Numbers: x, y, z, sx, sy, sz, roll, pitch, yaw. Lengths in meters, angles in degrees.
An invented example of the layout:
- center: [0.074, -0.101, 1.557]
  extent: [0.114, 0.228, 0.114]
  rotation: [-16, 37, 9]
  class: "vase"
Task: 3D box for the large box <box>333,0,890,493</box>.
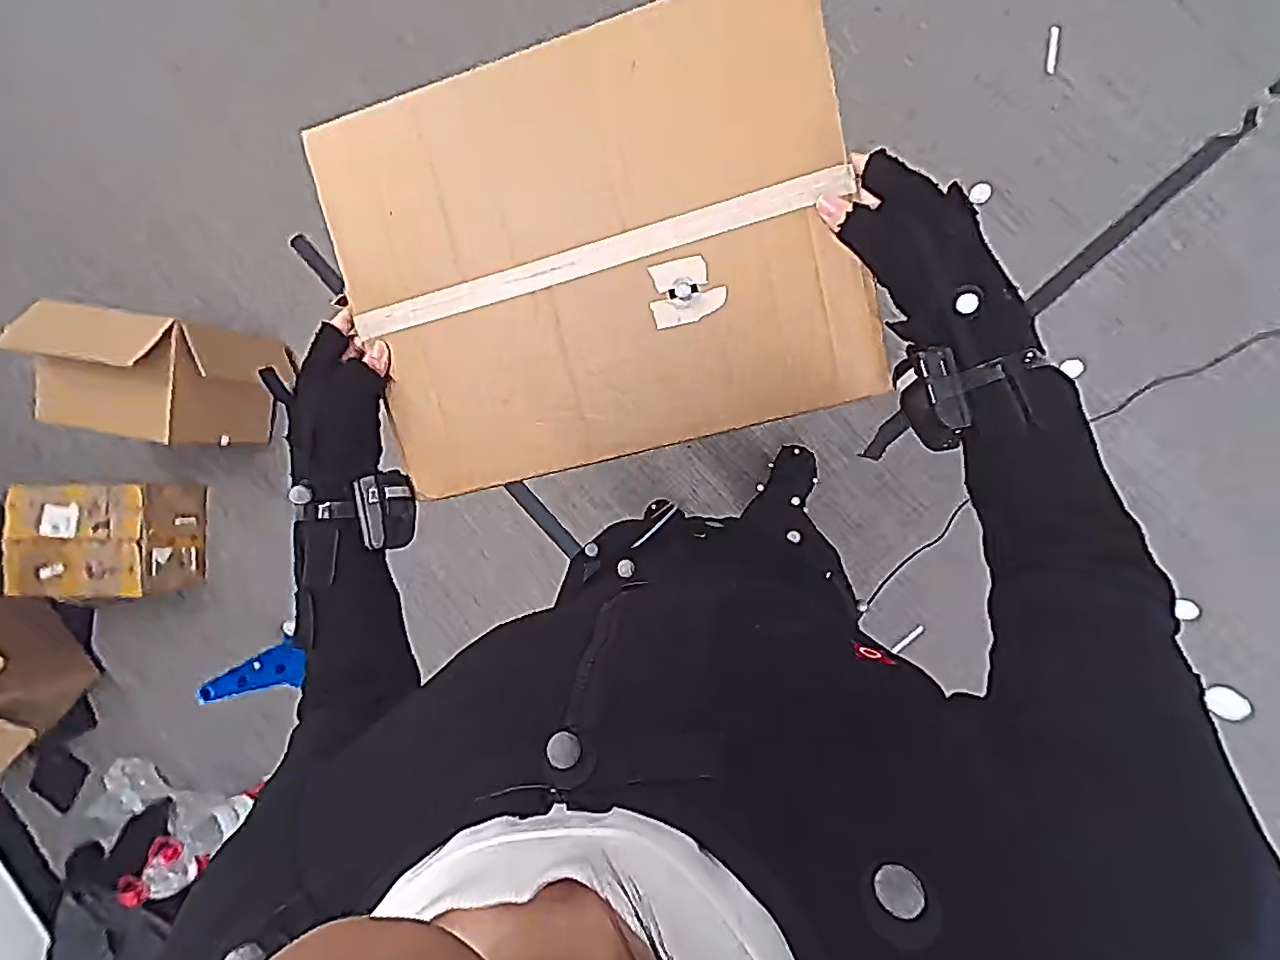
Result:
- center: [-0.014, -0.201, 0.580]
  extent: [0.408, 0.320, 0.320]
  rotation: [-13, 98, 8]
  class: "large box"
